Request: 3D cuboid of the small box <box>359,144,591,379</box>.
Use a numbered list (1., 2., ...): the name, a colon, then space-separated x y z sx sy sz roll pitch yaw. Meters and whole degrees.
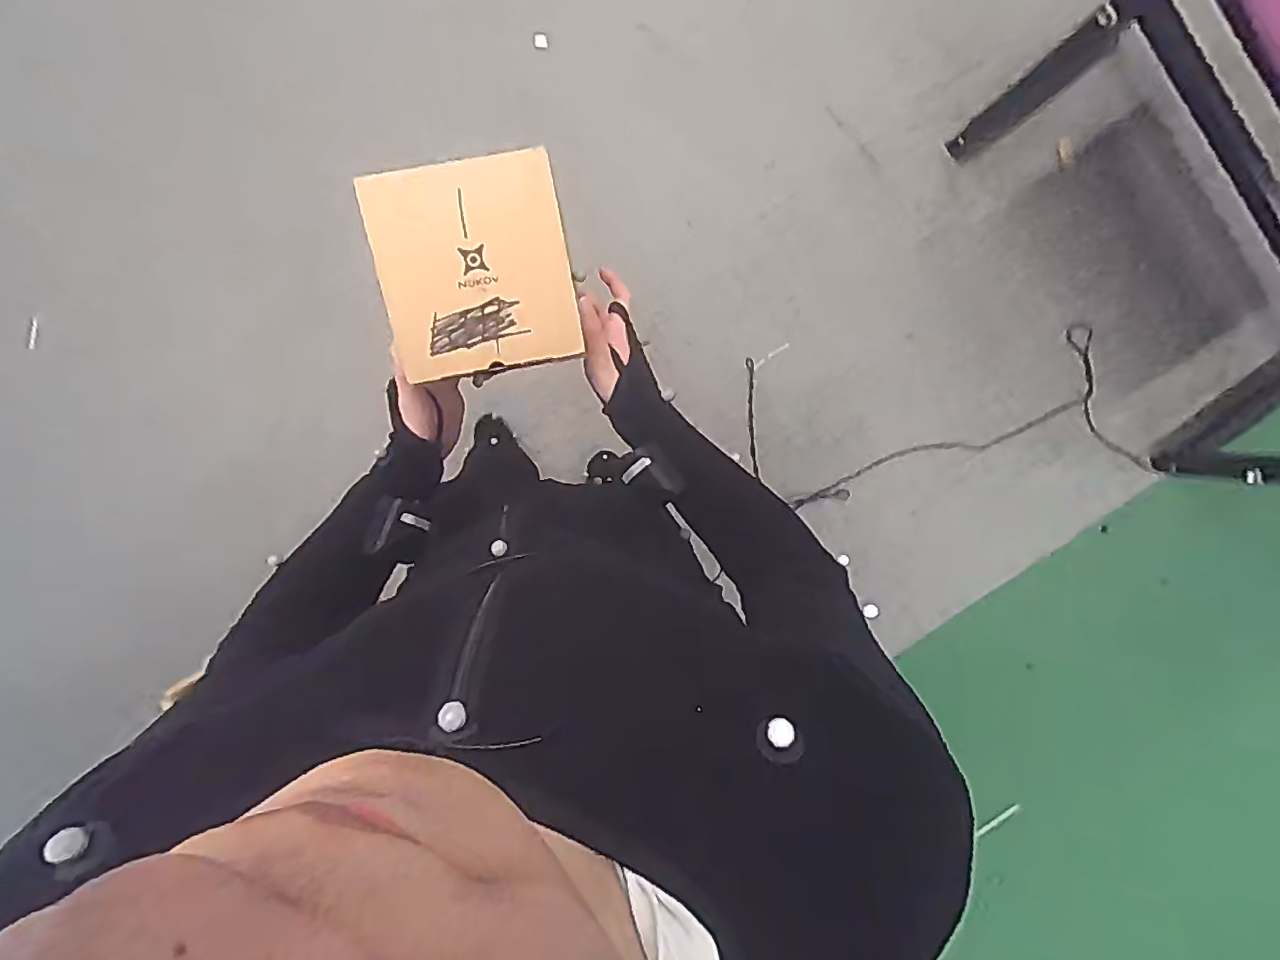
1. small box: -0.145 -0.205 0.548 0.168 0.176 0.179 -10 103 -1
